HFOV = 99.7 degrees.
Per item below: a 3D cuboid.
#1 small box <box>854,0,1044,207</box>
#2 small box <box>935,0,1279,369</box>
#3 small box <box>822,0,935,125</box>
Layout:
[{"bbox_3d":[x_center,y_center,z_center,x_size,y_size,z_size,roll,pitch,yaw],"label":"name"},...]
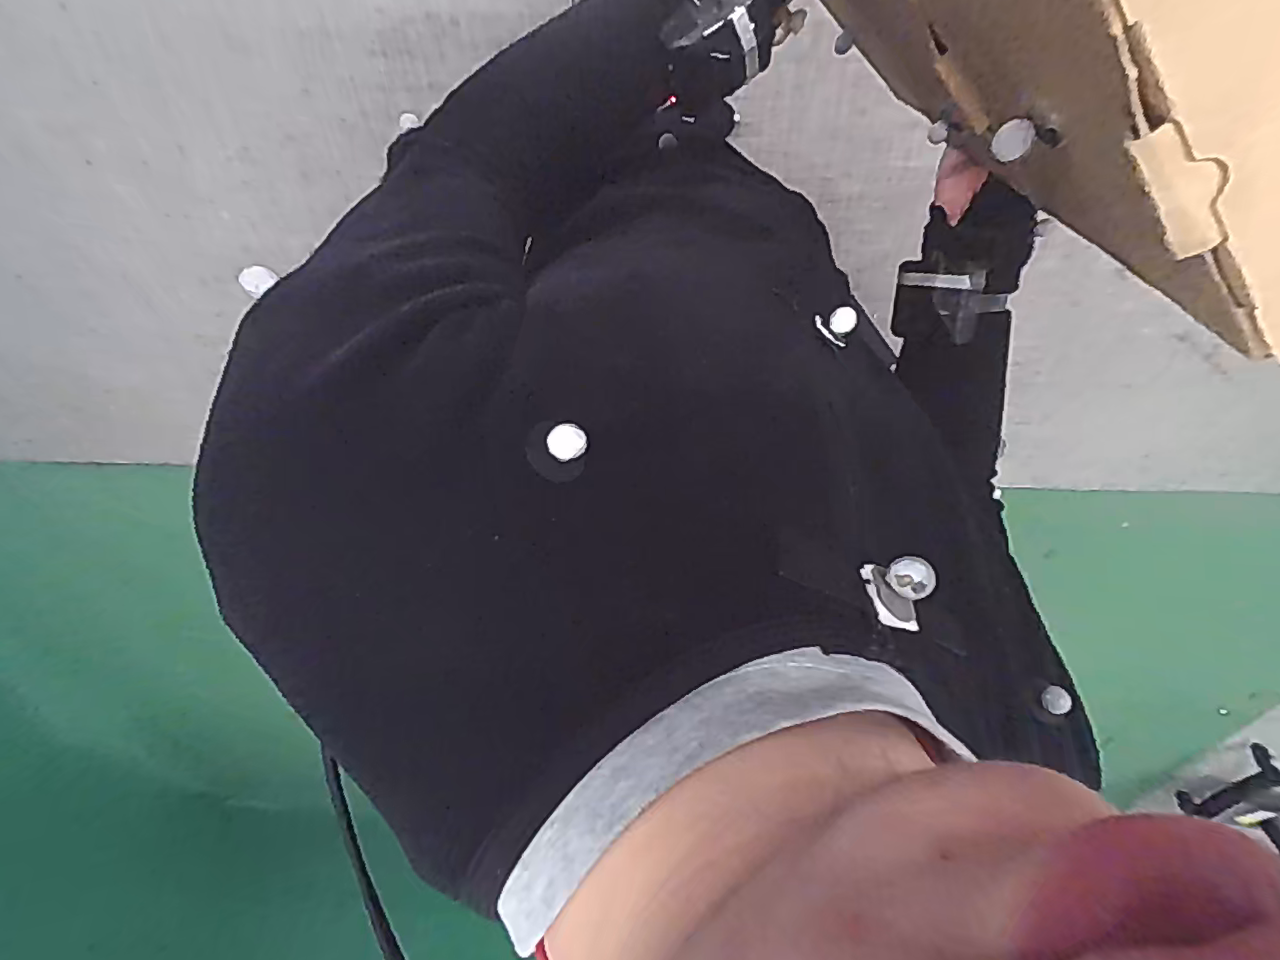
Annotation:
[{"bbox_3d":[0.225,-0.289,0.277,0.168,0.176,0.179,34,127,-24],"label":"small box"},{"bbox_3d":[0.213,-0.175,0.160,0.168,0.176,0.179,36,128,-25],"label":"small box"},{"bbox_3d":[0.241,-0.402,0.392,0.168,0.176,0.179,33,129,-22],"label":"small box"}]
